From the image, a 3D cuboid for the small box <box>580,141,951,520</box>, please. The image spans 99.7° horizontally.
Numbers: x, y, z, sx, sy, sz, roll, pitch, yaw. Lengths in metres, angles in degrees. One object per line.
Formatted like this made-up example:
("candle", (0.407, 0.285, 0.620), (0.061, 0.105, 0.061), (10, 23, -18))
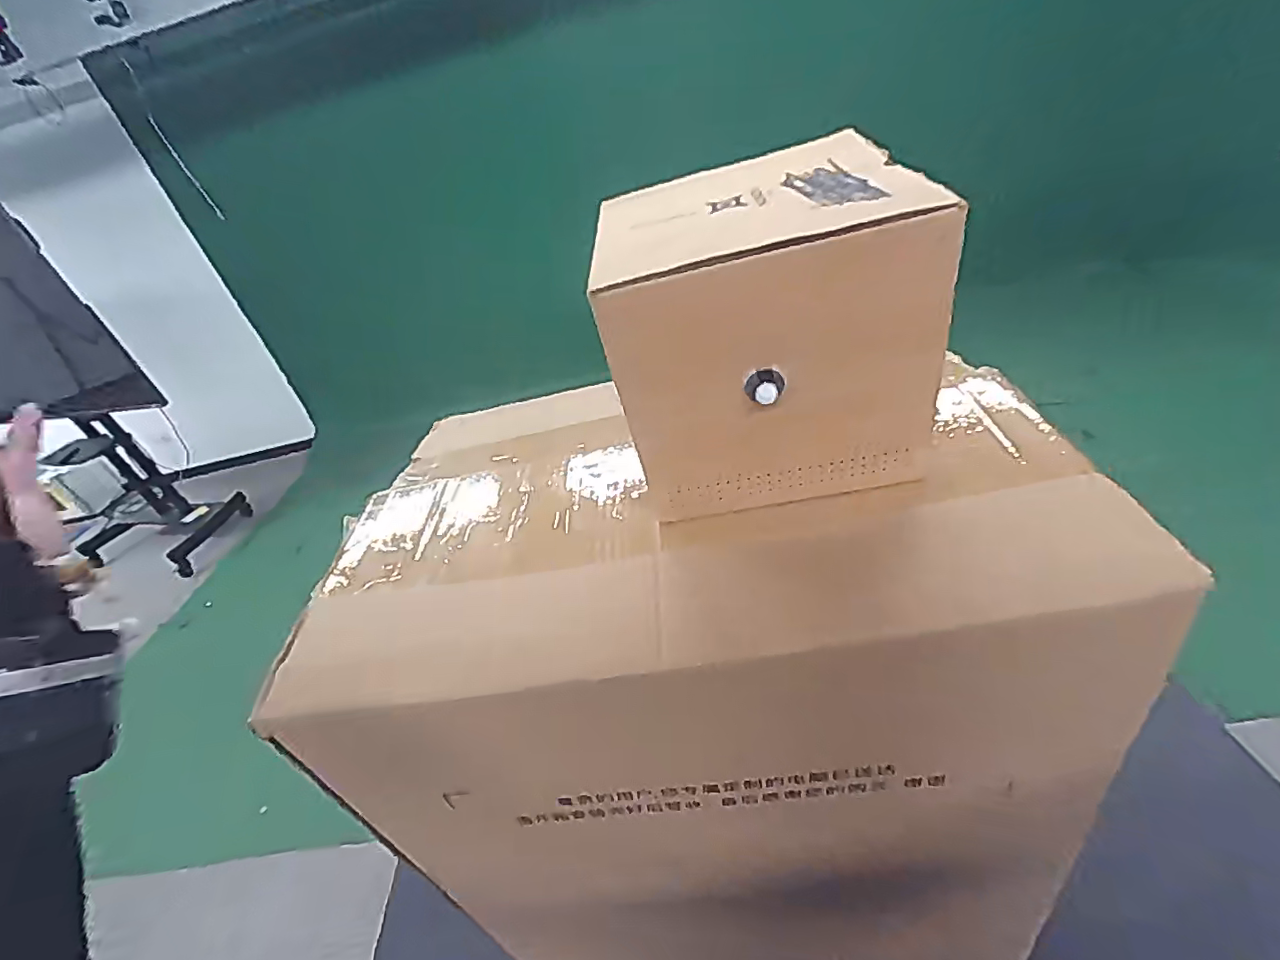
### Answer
("small box", (0.073, -0.095, 0.363), (0.179, 0.176, 0.168), (-11, 40, 9))
